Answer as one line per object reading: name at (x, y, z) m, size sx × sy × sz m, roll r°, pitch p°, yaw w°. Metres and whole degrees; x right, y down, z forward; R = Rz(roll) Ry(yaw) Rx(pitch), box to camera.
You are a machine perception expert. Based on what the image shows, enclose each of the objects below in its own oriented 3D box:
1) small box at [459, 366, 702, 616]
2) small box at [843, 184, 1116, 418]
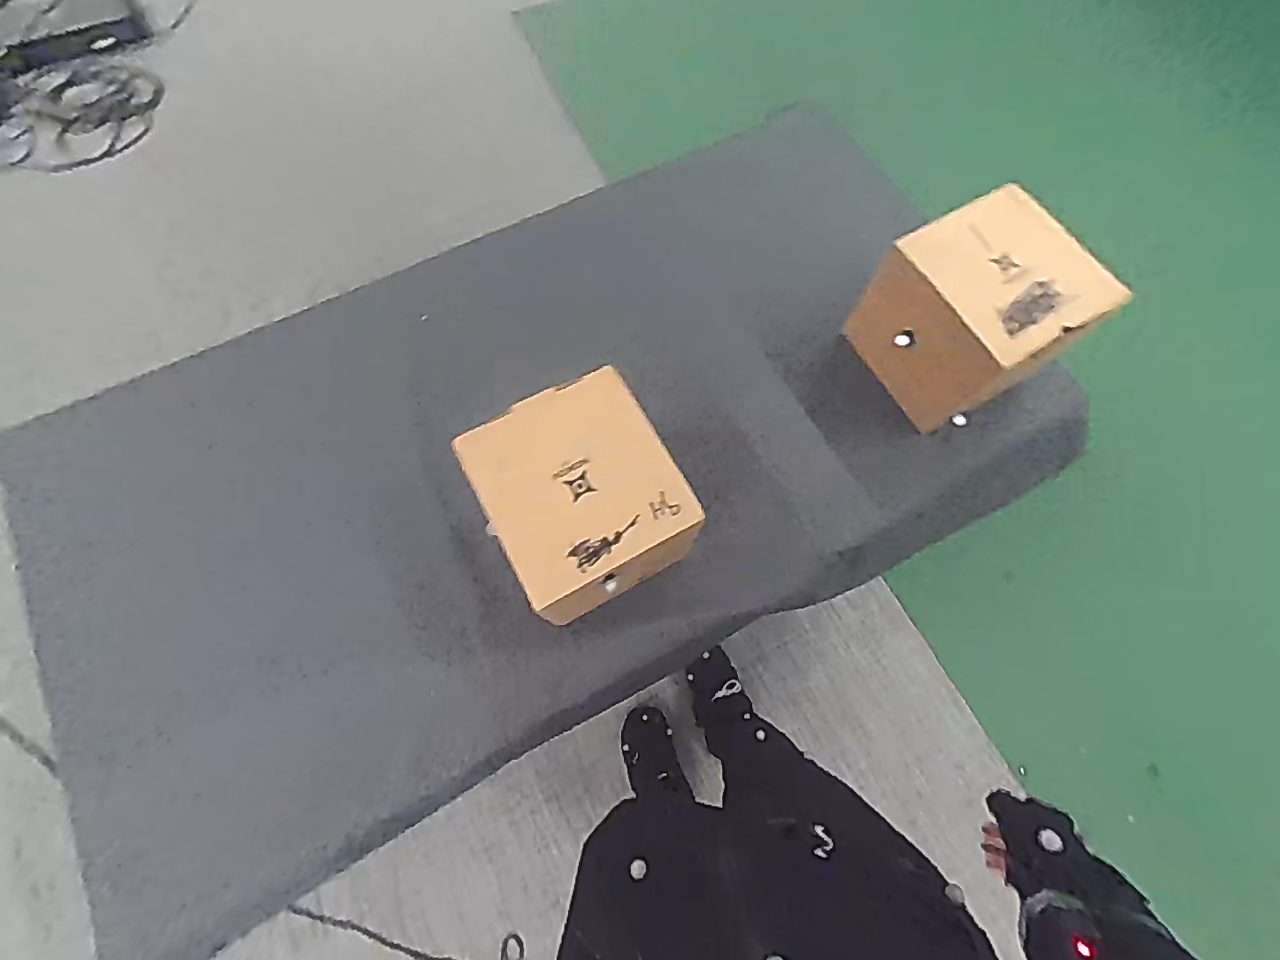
small box at (-0.058, 0.022, 0.559) m, size 0.168 × 0.176 × 0.179 m, roll -28°, pitch 73°, yaw -10°
small box at (0.376, -0.194, 0.638) m, size 0.168 × 0.176 × 0.179 m, roll -28°, pitch 73°, yaw -8°
